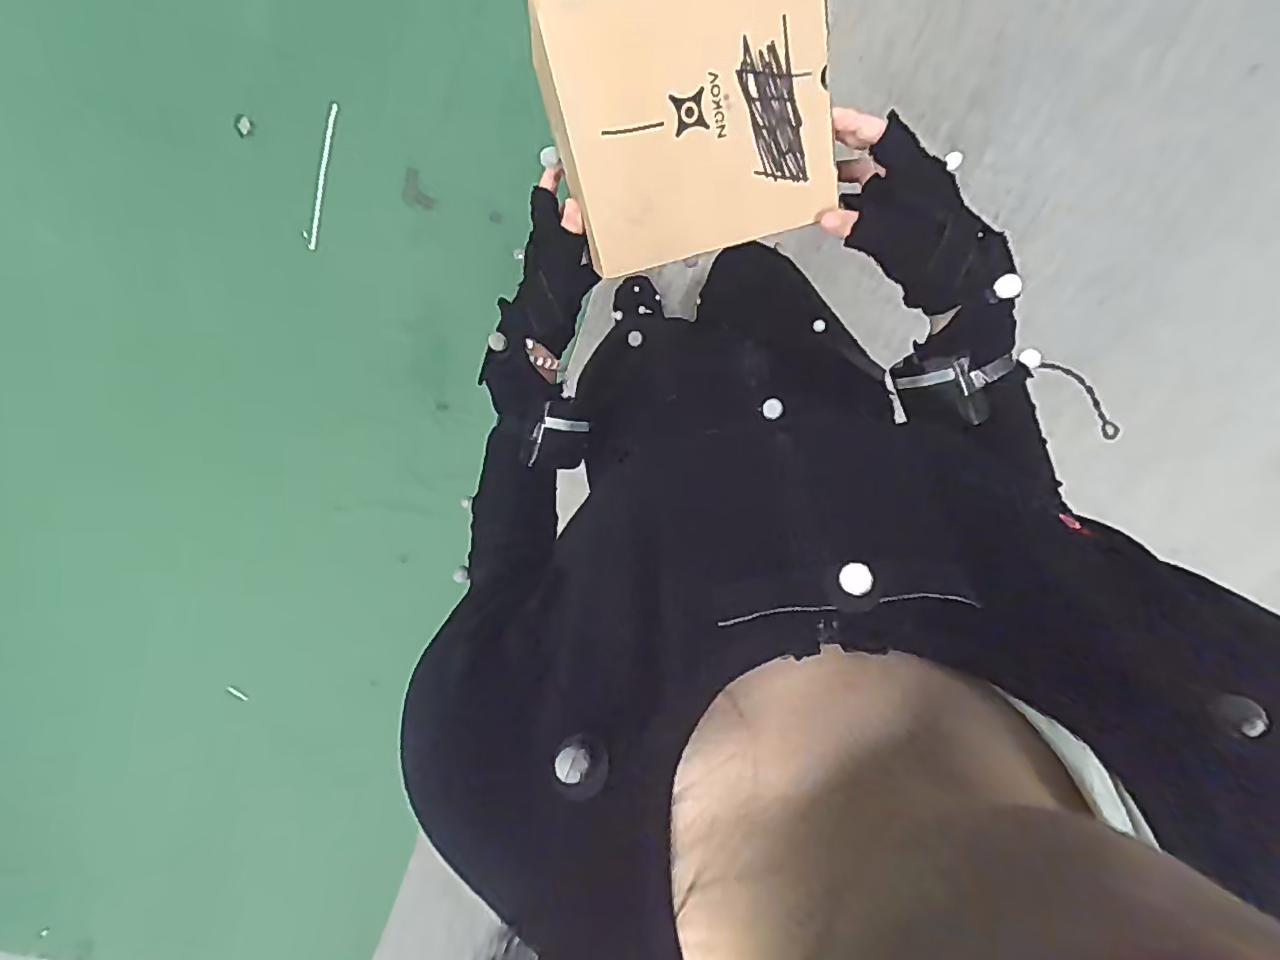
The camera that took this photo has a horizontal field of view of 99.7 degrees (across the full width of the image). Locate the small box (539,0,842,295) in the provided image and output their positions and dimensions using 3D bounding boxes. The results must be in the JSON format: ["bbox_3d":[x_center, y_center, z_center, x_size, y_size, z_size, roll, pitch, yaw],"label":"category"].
[{"bbox_3d":[0.029,-0.255,0.410,0.179,0.176,0.168,-16,117,-1],"label":"small box"}]
